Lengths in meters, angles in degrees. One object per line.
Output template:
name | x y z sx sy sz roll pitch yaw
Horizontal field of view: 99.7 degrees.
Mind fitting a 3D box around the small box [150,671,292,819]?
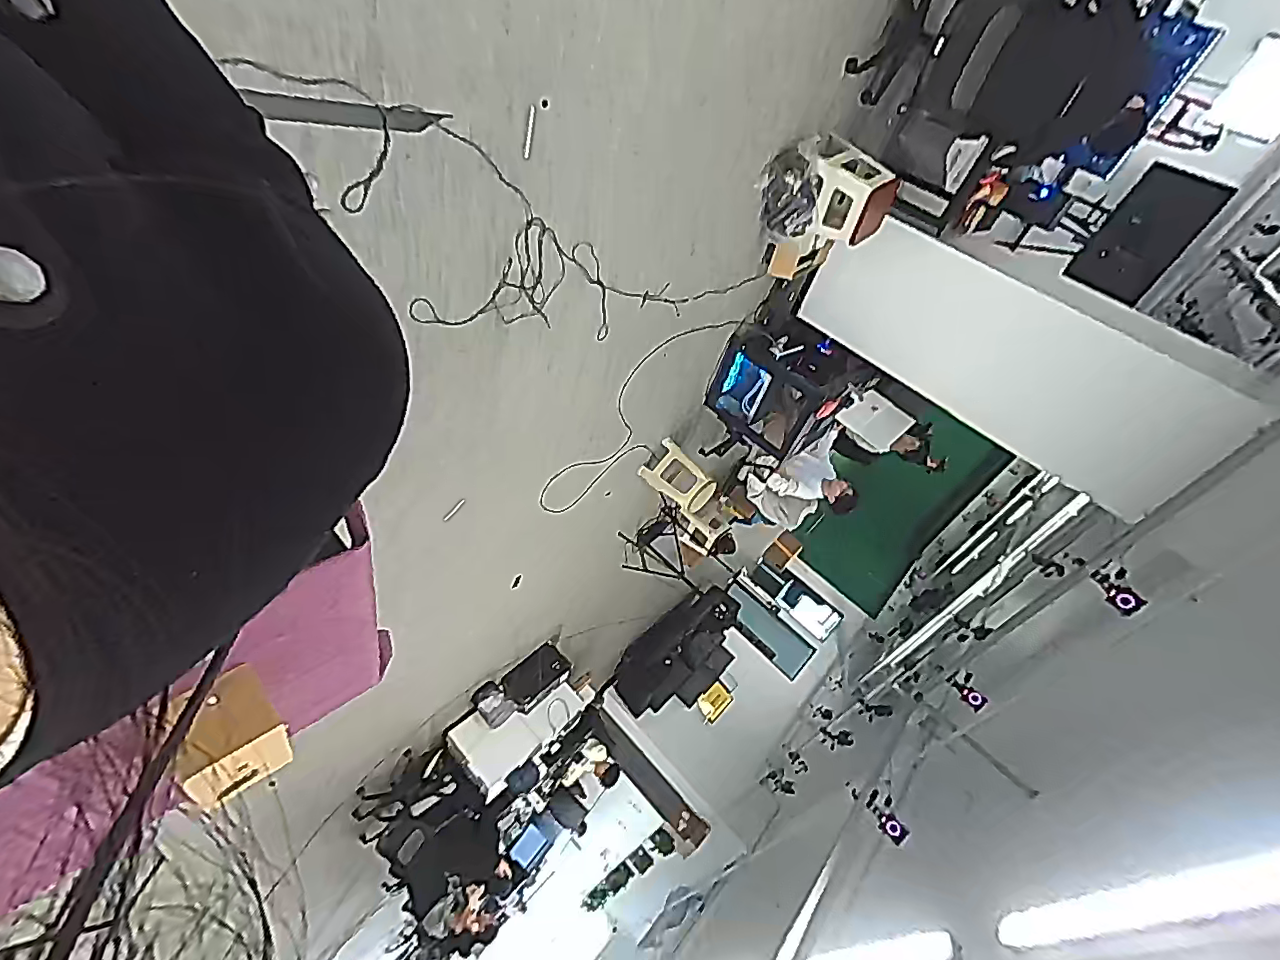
small box | -0.822 0.517 1.072 0.168 0.176 0.179 -27 149 -43
